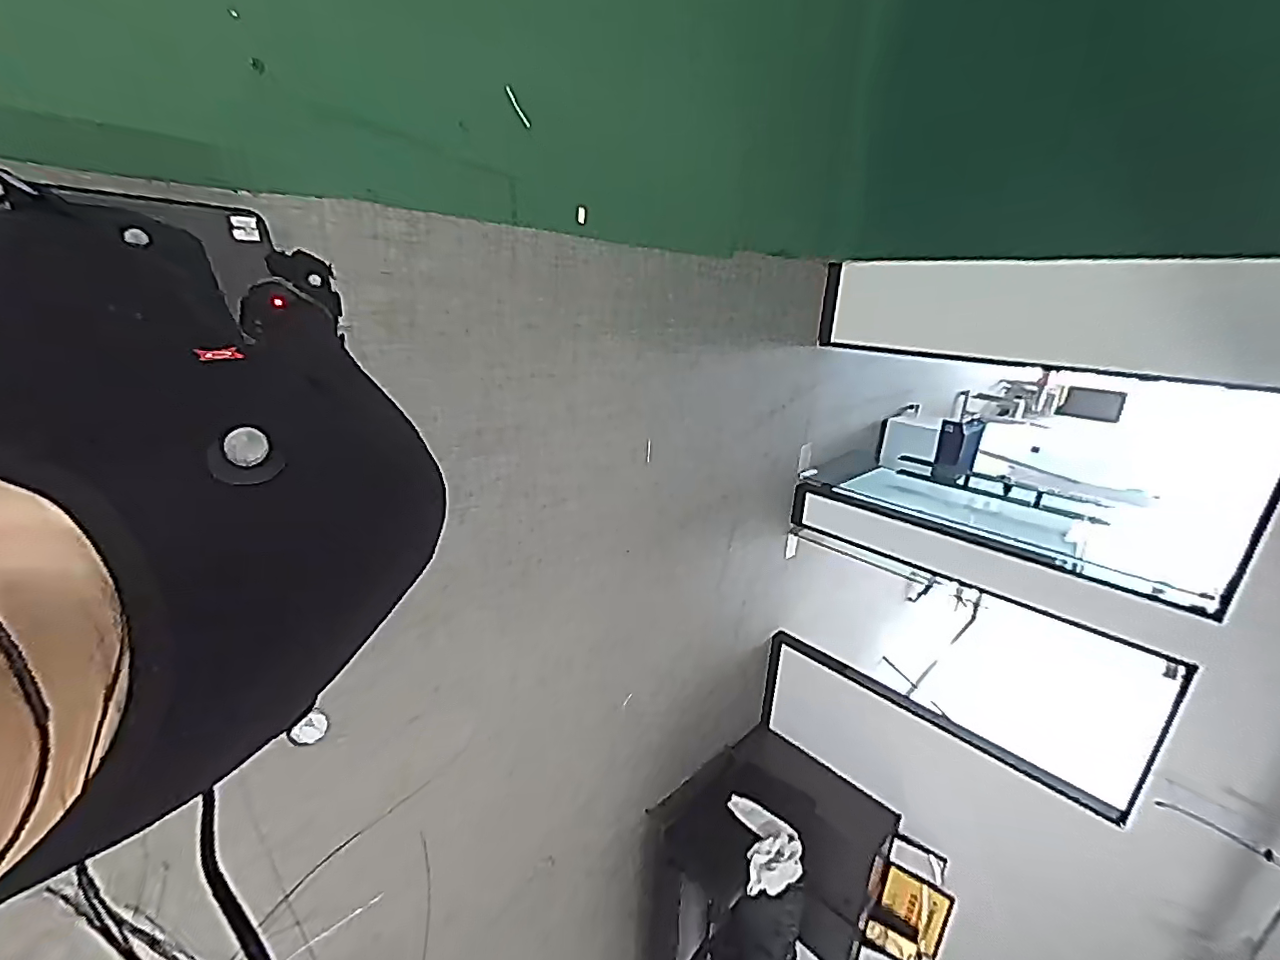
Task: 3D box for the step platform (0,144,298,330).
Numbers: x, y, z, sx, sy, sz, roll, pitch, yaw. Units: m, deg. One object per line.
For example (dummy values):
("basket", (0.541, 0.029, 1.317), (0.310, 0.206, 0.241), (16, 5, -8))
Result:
("step platform", (-0.992, -0.405, 0.908), (0.684, 0.204, 0.286), (-15, 117, -41))
